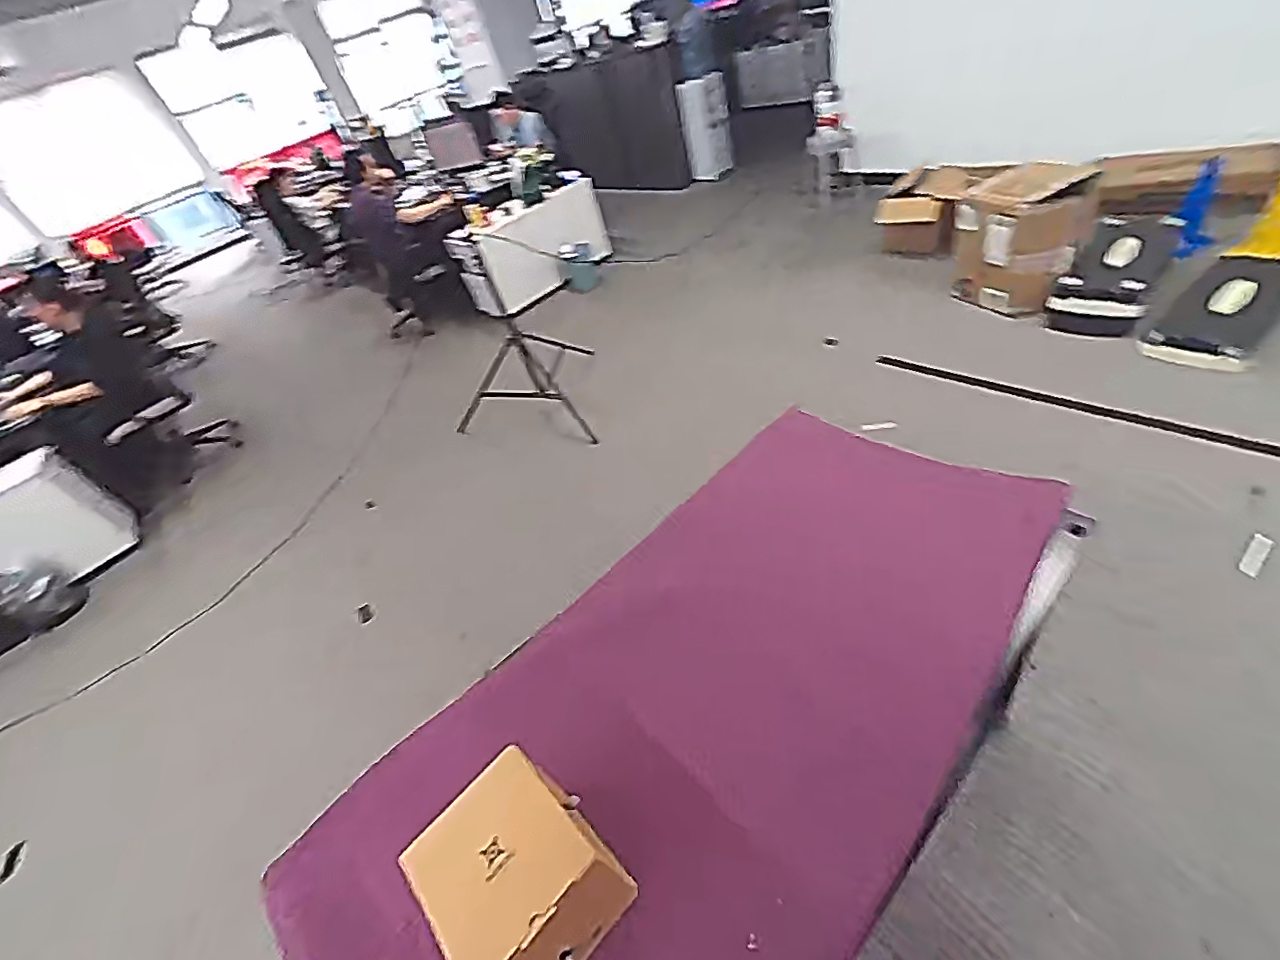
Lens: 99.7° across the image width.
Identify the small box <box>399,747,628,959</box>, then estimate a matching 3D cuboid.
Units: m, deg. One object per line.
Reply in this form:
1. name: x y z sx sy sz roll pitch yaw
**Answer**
1. small box: -0.141 0.467 0.641 0.168 0.176 0.179 -41 46 -23
